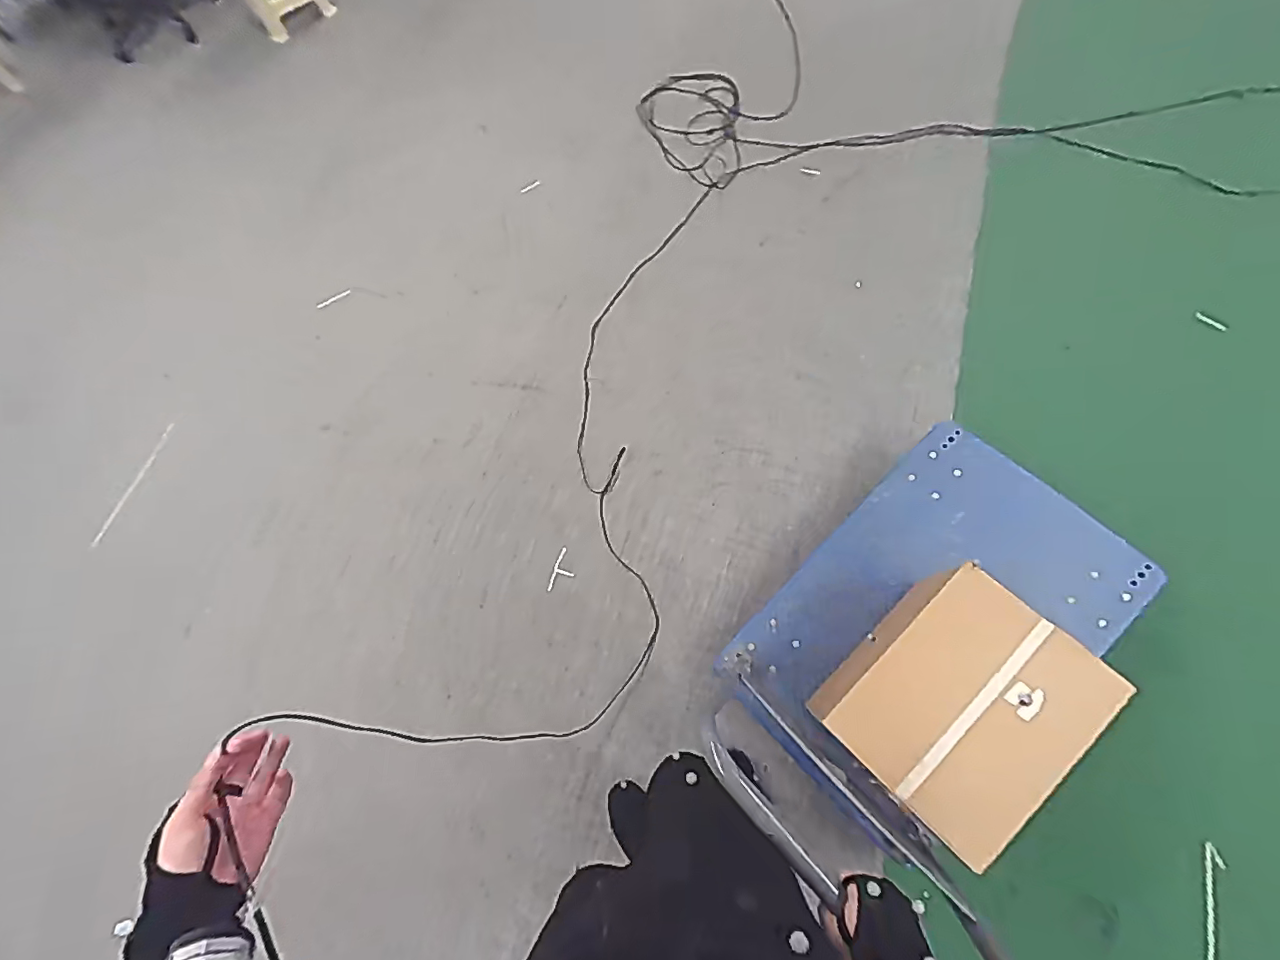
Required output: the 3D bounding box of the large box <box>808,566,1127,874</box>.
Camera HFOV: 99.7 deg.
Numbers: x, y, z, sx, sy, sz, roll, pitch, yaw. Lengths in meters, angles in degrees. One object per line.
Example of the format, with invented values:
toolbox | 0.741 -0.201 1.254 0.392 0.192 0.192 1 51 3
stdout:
large box | 0.593 0.439 1.063 0.408 0.320 0.320 -44 71 -5
